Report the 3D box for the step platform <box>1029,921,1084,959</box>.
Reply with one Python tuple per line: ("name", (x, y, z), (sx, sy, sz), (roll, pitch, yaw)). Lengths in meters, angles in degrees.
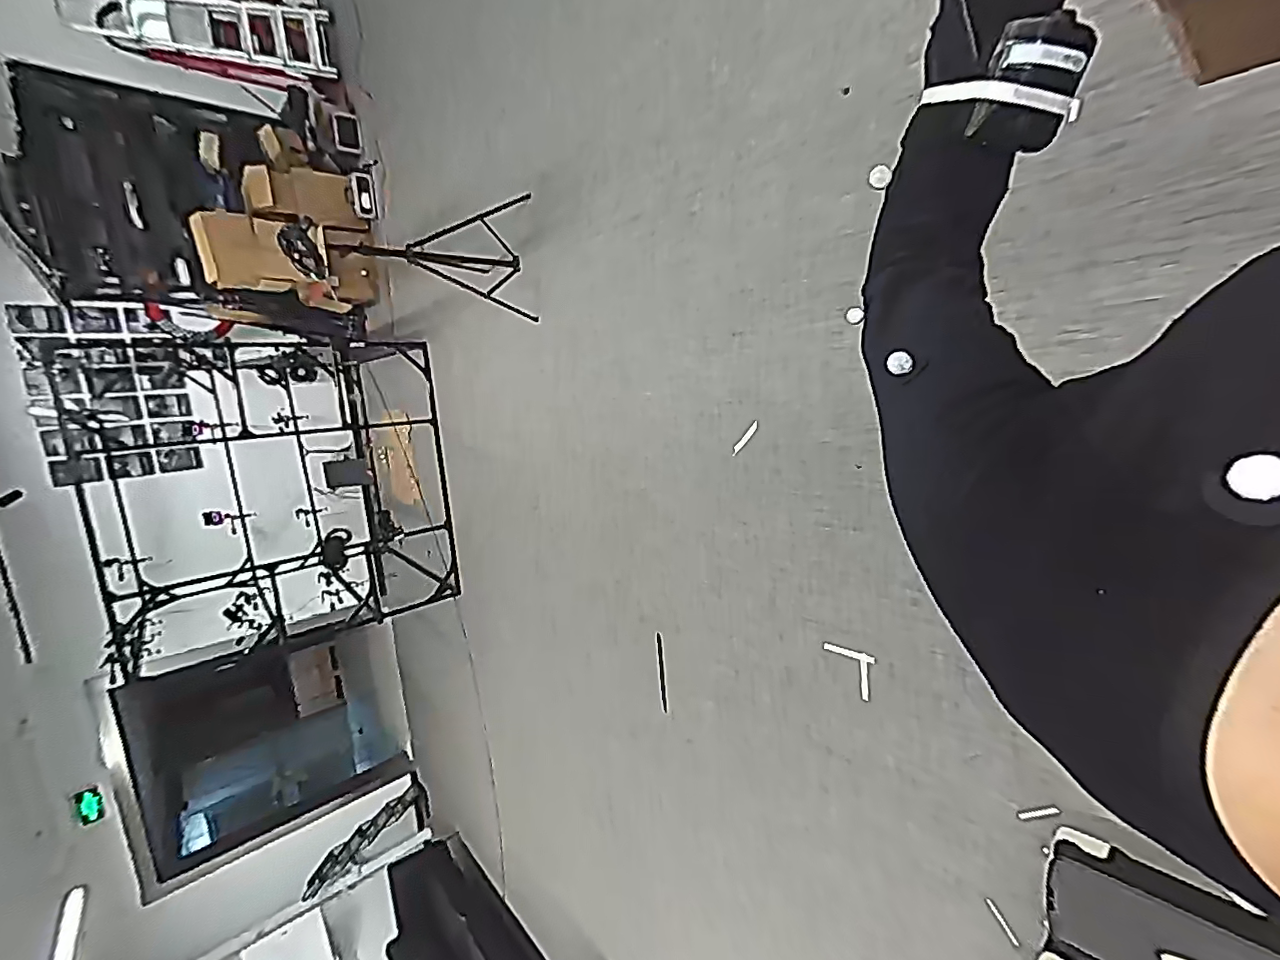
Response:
("step platform", (1.223, 1.318, 1.141), (0.684, 0.204, 0.286), (4, 103, 51))
